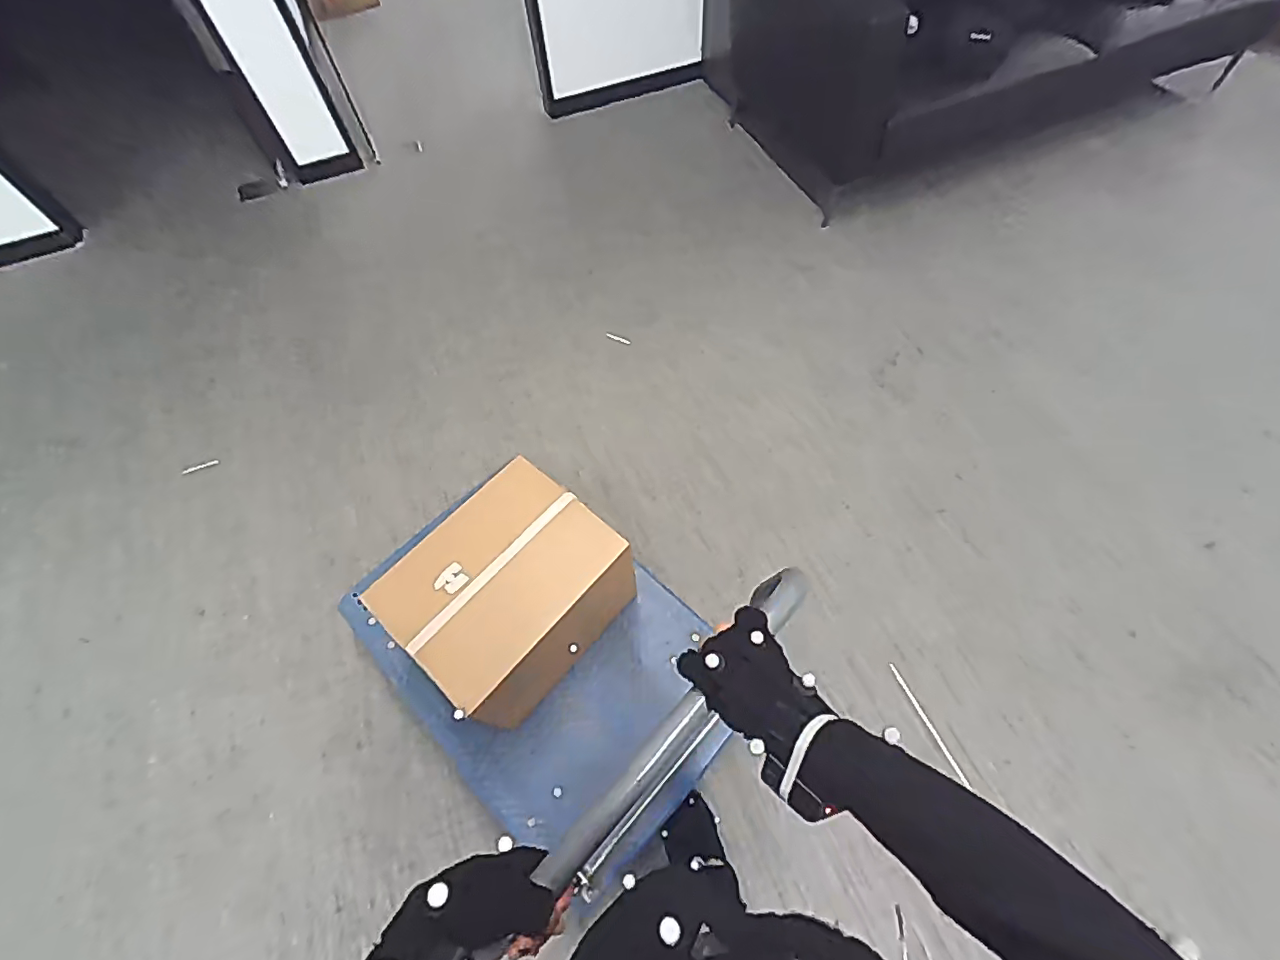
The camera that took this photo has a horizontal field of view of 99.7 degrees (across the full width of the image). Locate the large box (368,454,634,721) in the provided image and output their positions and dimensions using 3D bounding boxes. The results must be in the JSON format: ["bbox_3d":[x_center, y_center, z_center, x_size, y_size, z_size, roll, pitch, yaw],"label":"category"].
[{"bbox_3d":[-0.255,0.231,1.139,0.320,0.320,0.408,36,69,20],"label":"large box"}]
